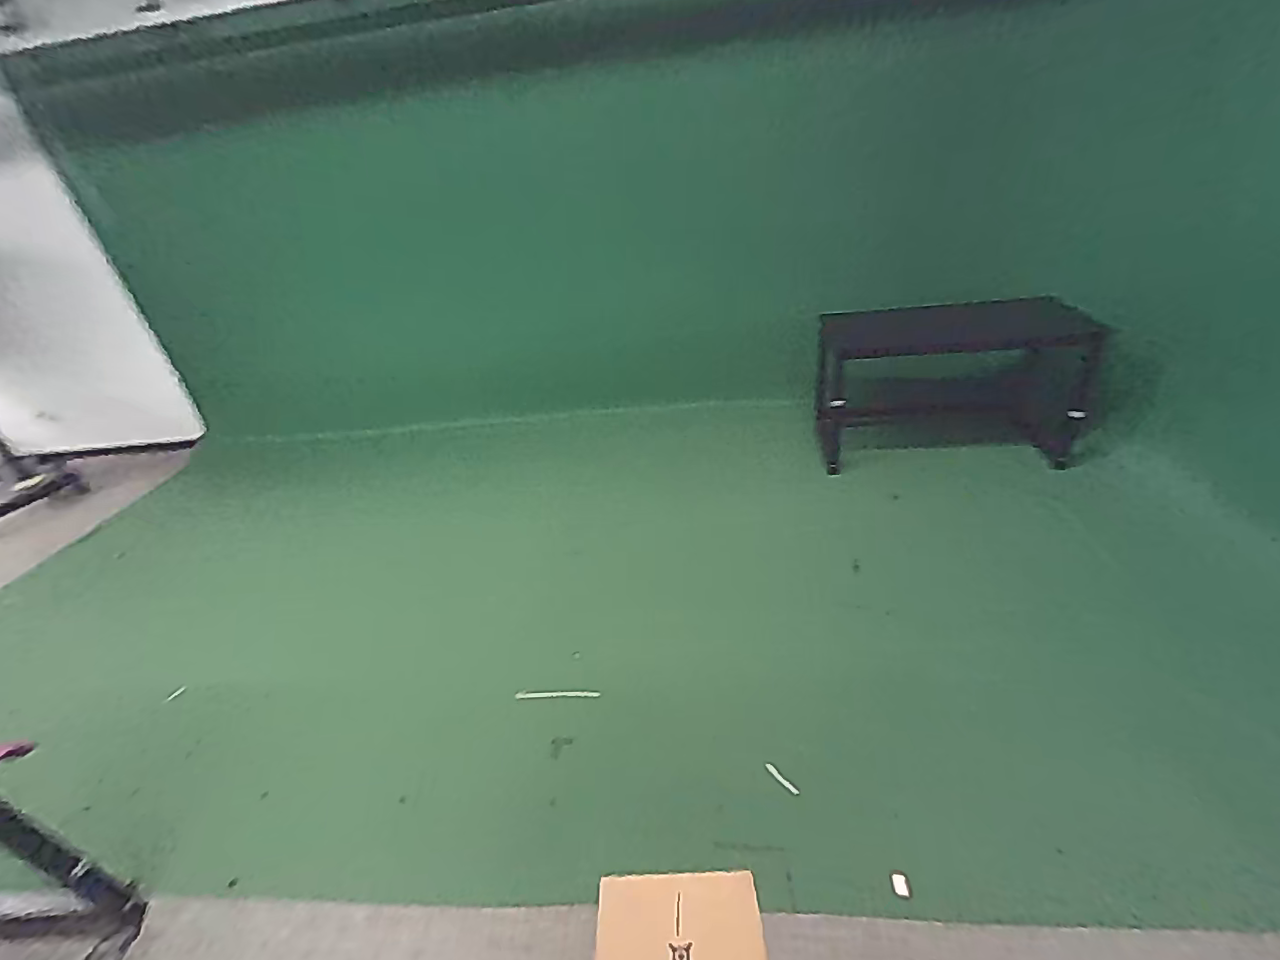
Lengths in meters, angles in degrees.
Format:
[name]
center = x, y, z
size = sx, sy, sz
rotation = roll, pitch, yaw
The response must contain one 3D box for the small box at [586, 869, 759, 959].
[small box]
center = 0.036, 0.524, 0.523
size = 0.168, 0.176, 0.179
rotation = -4, 17, 2
